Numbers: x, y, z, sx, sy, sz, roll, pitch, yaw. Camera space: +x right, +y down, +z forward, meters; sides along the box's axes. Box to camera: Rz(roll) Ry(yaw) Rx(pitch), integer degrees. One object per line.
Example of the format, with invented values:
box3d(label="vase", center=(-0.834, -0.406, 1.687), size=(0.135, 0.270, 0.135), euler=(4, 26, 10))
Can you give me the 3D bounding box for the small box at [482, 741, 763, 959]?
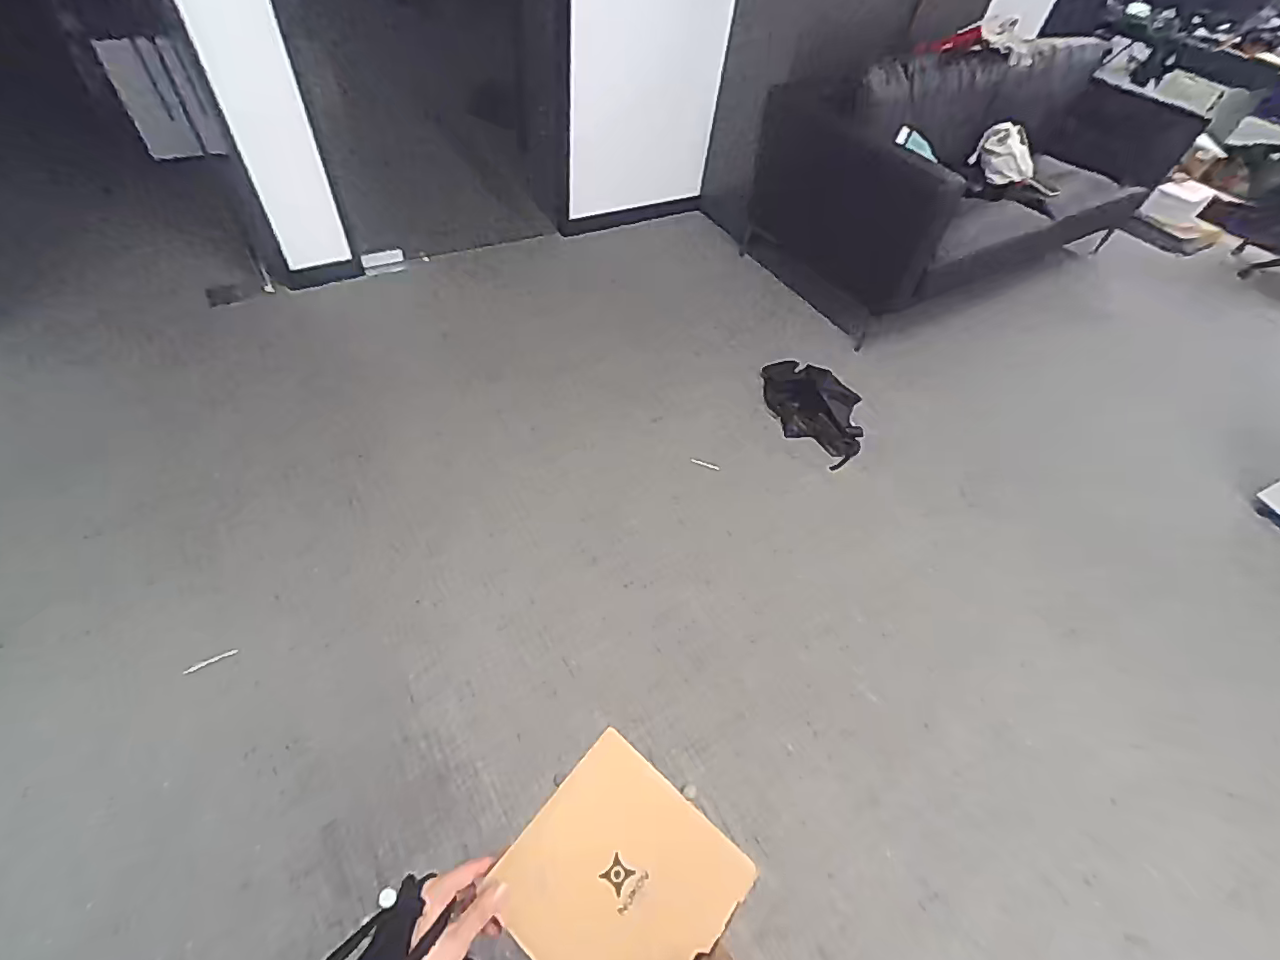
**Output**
box3d(label="small box", center=(-0.020, 0.386, 0.507), size=(0.179, 0.176, 0.168), euler=(37, 59, 17))
